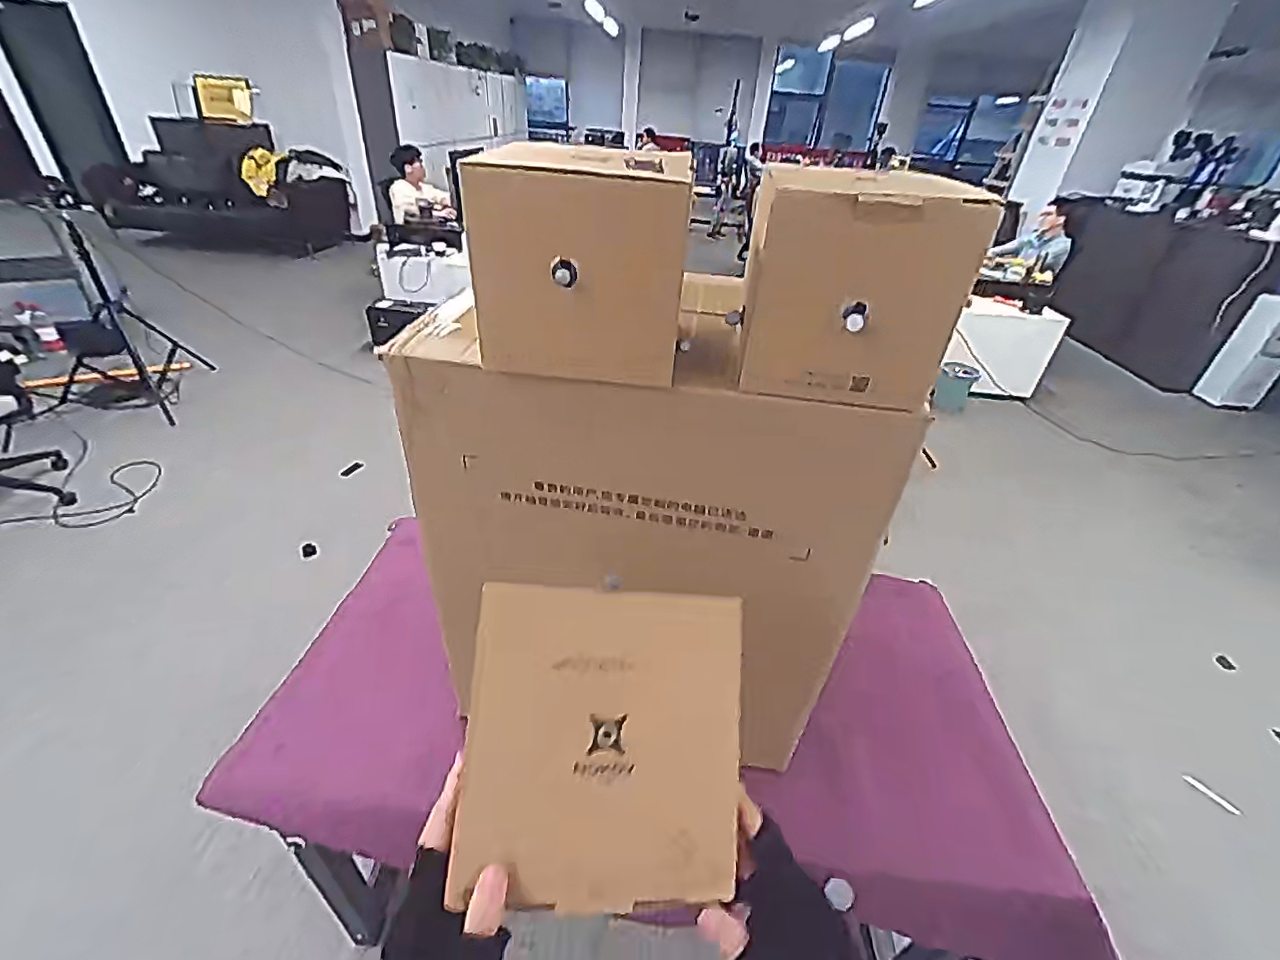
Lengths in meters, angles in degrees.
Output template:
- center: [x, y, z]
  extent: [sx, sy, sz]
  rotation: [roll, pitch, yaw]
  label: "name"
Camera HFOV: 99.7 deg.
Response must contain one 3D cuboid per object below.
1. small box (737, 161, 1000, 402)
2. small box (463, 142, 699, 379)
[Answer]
- center: [0.187, -0.188, 0.507]
  extent: [0.168, 0.176, 0.179]
  rotation: [8, 36, 4]
  label: "small box"
- center: [-0.042, -0.206, 0.507]
  extent: [0.179, 0.176, 0.168]
  rotation: [5, 35, 3]
  label: "small box"
